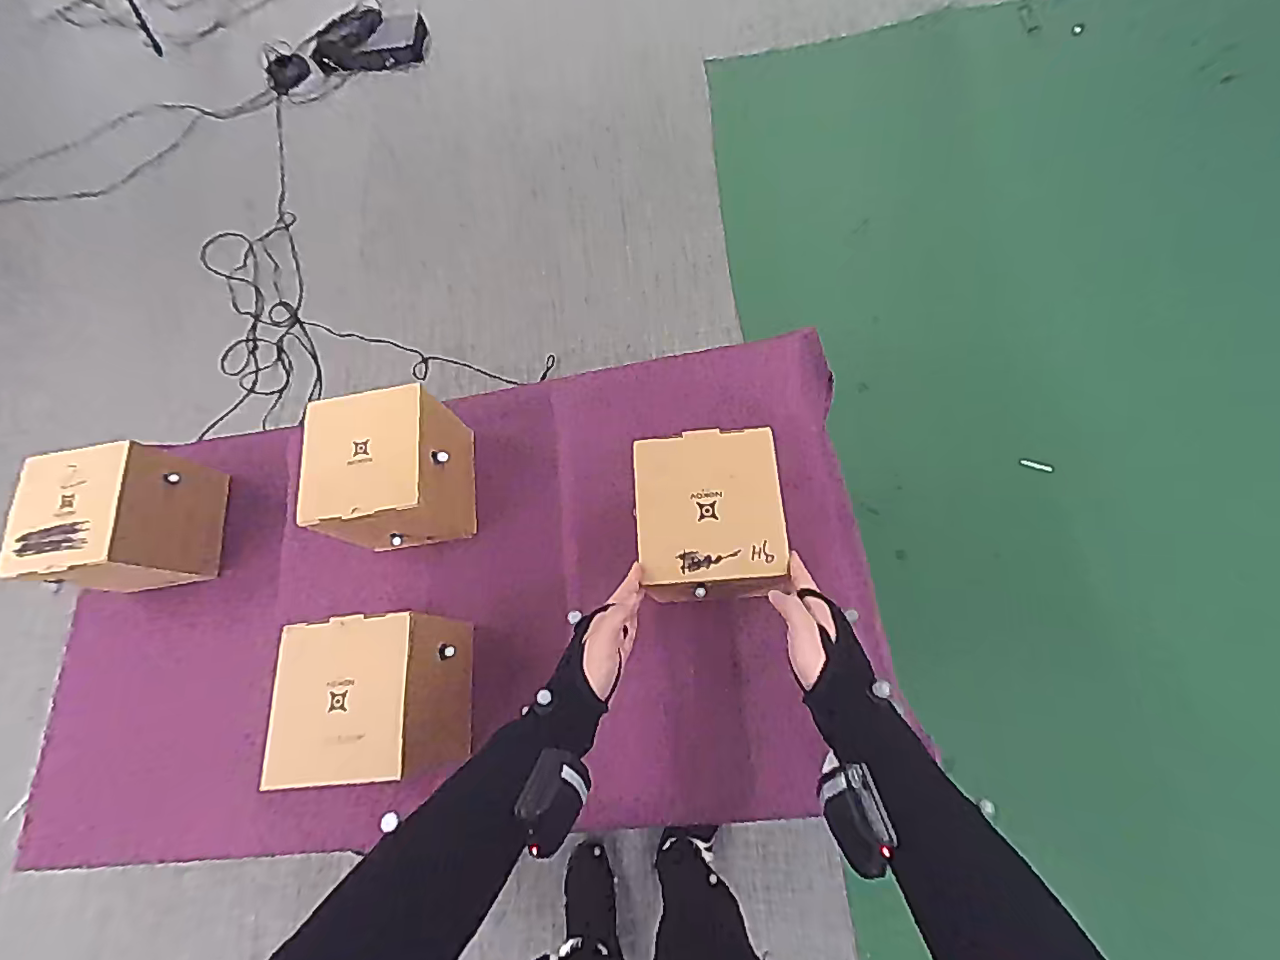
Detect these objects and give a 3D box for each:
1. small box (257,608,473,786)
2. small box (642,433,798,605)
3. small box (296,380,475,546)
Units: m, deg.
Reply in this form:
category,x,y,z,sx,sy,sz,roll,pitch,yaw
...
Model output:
category,x,y,z,sx,sy,sz,roll,pitch,yaw
small box,-0.319,0.263,0.667,0.168,0.176,0.179,-7,70,7
small box,0.094,0.057,0.678,0.168,0.176,0.179,-4,72,7
small box,-0.345,-0.016,0.767,0.168,0.176,0.179,-8,71,5
